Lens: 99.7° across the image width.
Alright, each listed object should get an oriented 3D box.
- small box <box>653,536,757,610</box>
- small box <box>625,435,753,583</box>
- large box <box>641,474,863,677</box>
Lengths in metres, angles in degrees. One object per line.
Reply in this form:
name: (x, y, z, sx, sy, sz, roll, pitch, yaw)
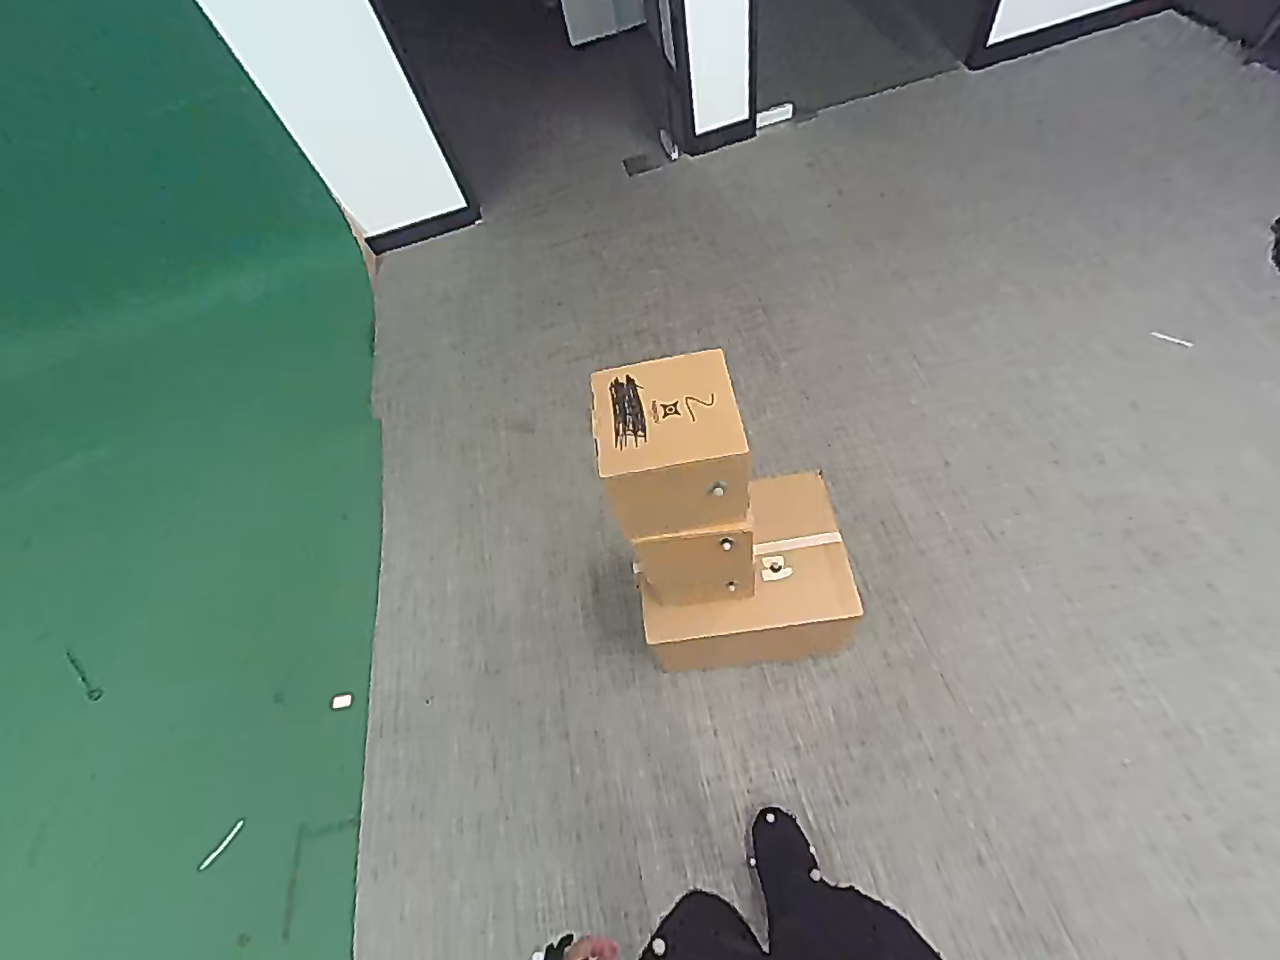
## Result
small box: (0.112, 0.127, 0.990, 0.179, 0.176, 0.168, -10, 58, 6)
small box: (0.079, 0.053, 0.849, 0.179, 0.176, 0.168, -7, 58, 6)
large box: (0.218, 0.225, 1.196, 0.408, 0.320, 0.320, -9, 60, 5)
